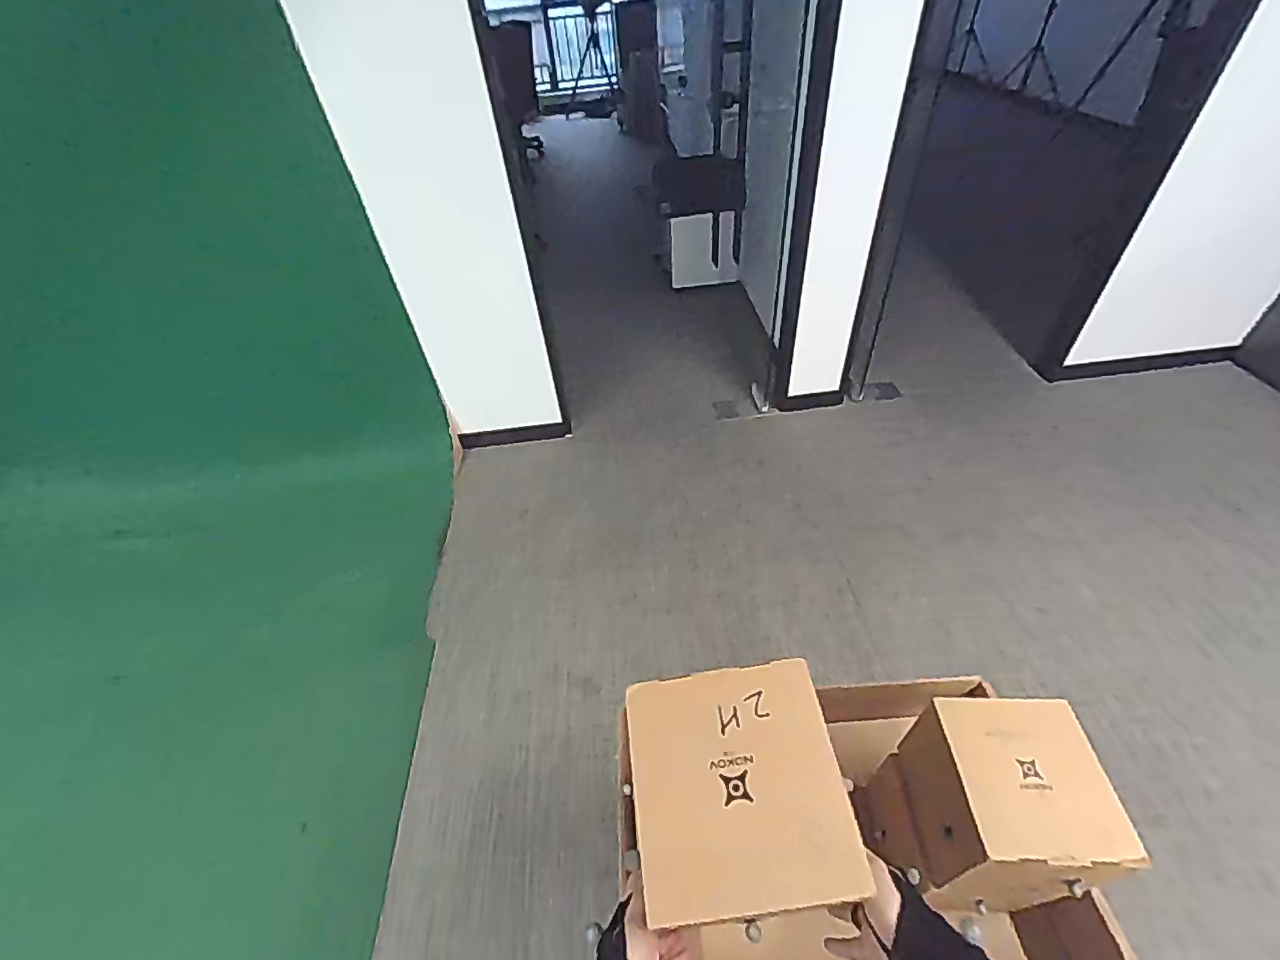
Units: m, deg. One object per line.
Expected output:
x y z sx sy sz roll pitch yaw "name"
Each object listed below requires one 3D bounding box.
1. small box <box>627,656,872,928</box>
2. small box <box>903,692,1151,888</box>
0.086 0.284 0.491 0.168 0.176 0.179 -9 50 2 "small box"
0.453 0.386 0.673 0.168 0.176 0.179 0 44 5 "small box"
